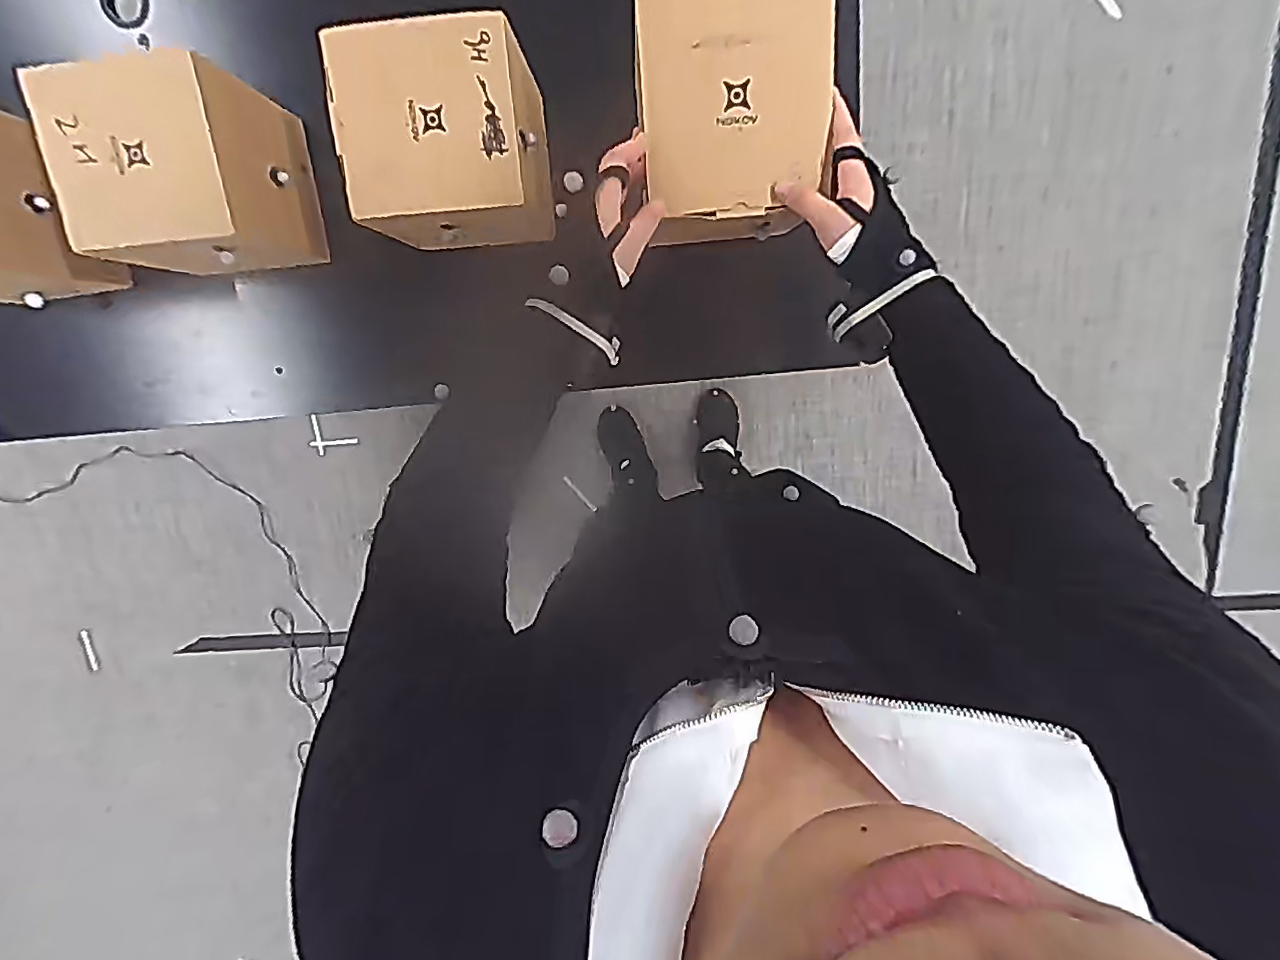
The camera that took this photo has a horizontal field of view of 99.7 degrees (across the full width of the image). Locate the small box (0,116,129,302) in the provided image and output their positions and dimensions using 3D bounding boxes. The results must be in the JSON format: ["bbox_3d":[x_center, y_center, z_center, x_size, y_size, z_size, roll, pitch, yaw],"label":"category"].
[{"bbox_3d":[-0.763,-0.311,0.623,0.168,0.176,0.179,-7,104,3],"label":"small box"}]

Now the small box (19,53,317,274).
[{"bbox_3d":[-0.497,-0.336,0.608,0.179,0.176,0.168,-5,103,3],"label":"small box"}]

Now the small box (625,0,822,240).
[{"bbox_3d":[0.076,-0.349,0.546,0.168,0.176,0.179,-5,105,1],"label":"small box"}]

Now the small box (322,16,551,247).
[{"bbox_3d":[-0.206,-0.362,0.596,0.179,0.176,0.168,-3,104,2],"label":"small box"}]
